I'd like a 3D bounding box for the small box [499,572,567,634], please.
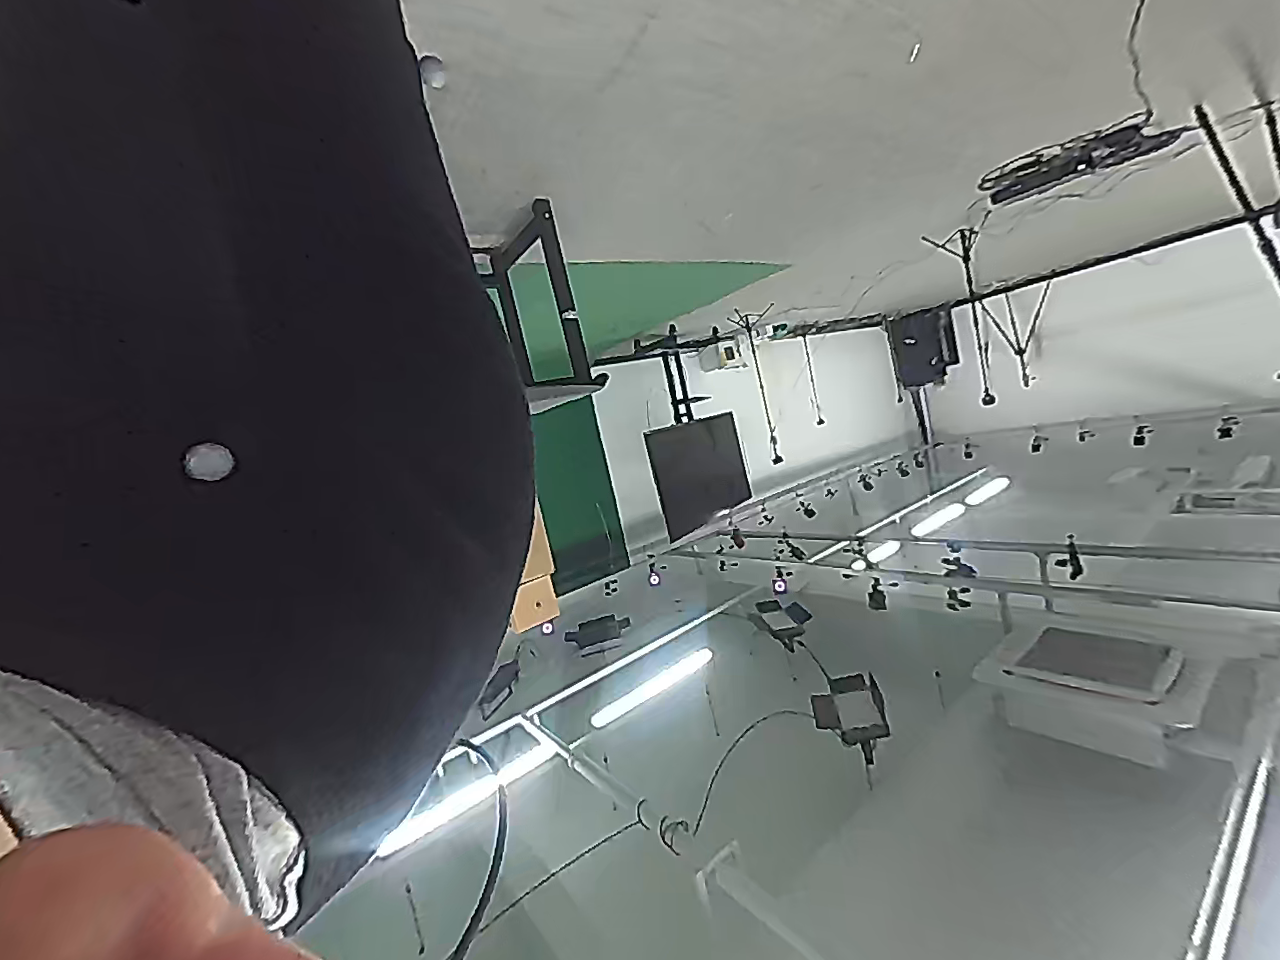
[{"bbox_3d":[-0.407,0.454,2.043,0.179,0.176,0.168,-20,-173,-32],"label":"small box"}]
